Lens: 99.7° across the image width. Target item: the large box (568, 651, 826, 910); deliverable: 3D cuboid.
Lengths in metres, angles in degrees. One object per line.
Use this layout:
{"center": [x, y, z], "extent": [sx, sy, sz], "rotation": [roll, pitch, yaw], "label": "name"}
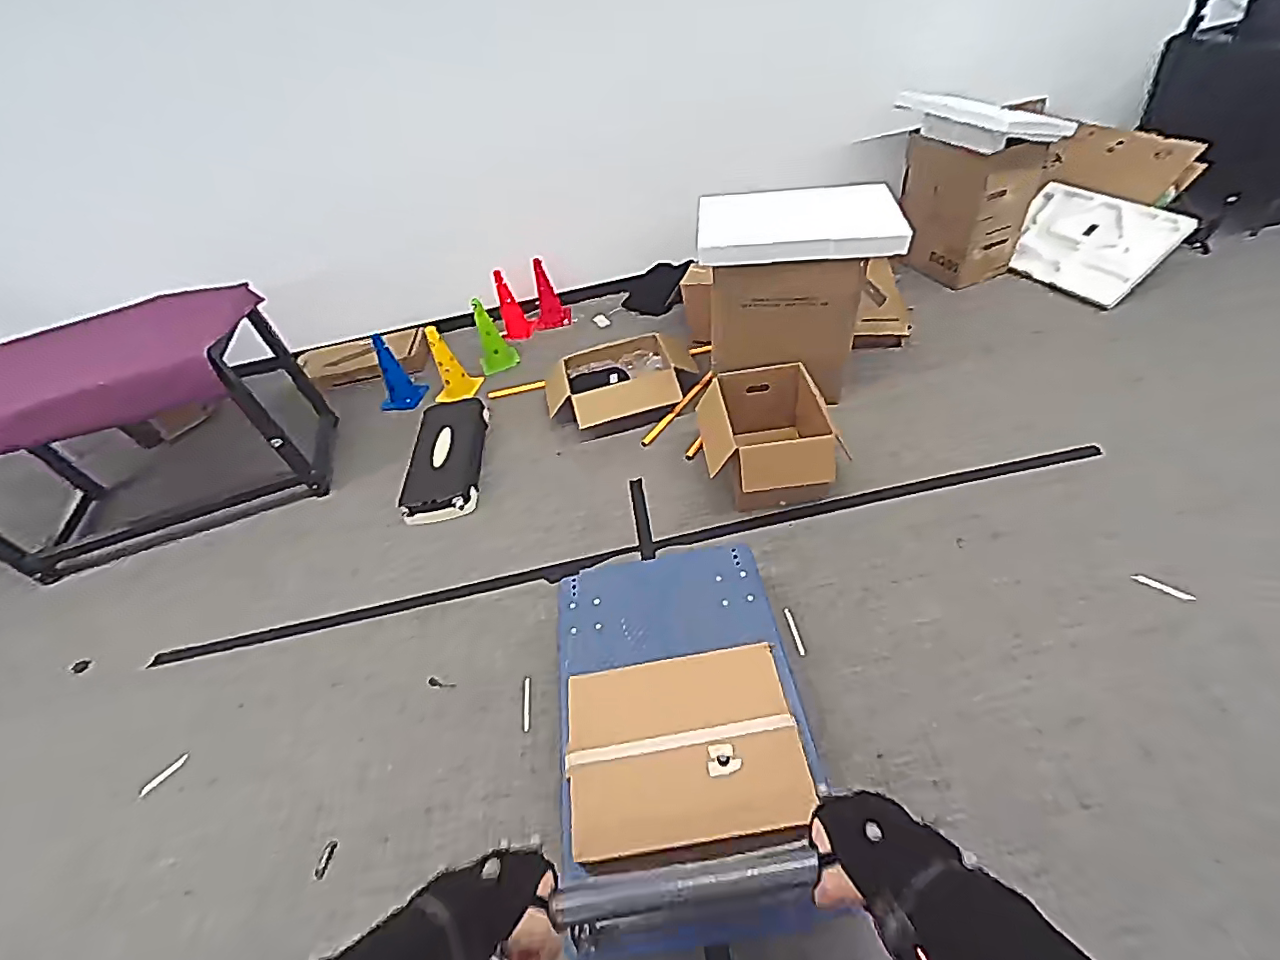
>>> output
{"center": [0.093, 0.577, 1.038], "extent": [0.408, 0.320, 0.320], "rotation": [-10, 45, 0], "label": "large box"}
